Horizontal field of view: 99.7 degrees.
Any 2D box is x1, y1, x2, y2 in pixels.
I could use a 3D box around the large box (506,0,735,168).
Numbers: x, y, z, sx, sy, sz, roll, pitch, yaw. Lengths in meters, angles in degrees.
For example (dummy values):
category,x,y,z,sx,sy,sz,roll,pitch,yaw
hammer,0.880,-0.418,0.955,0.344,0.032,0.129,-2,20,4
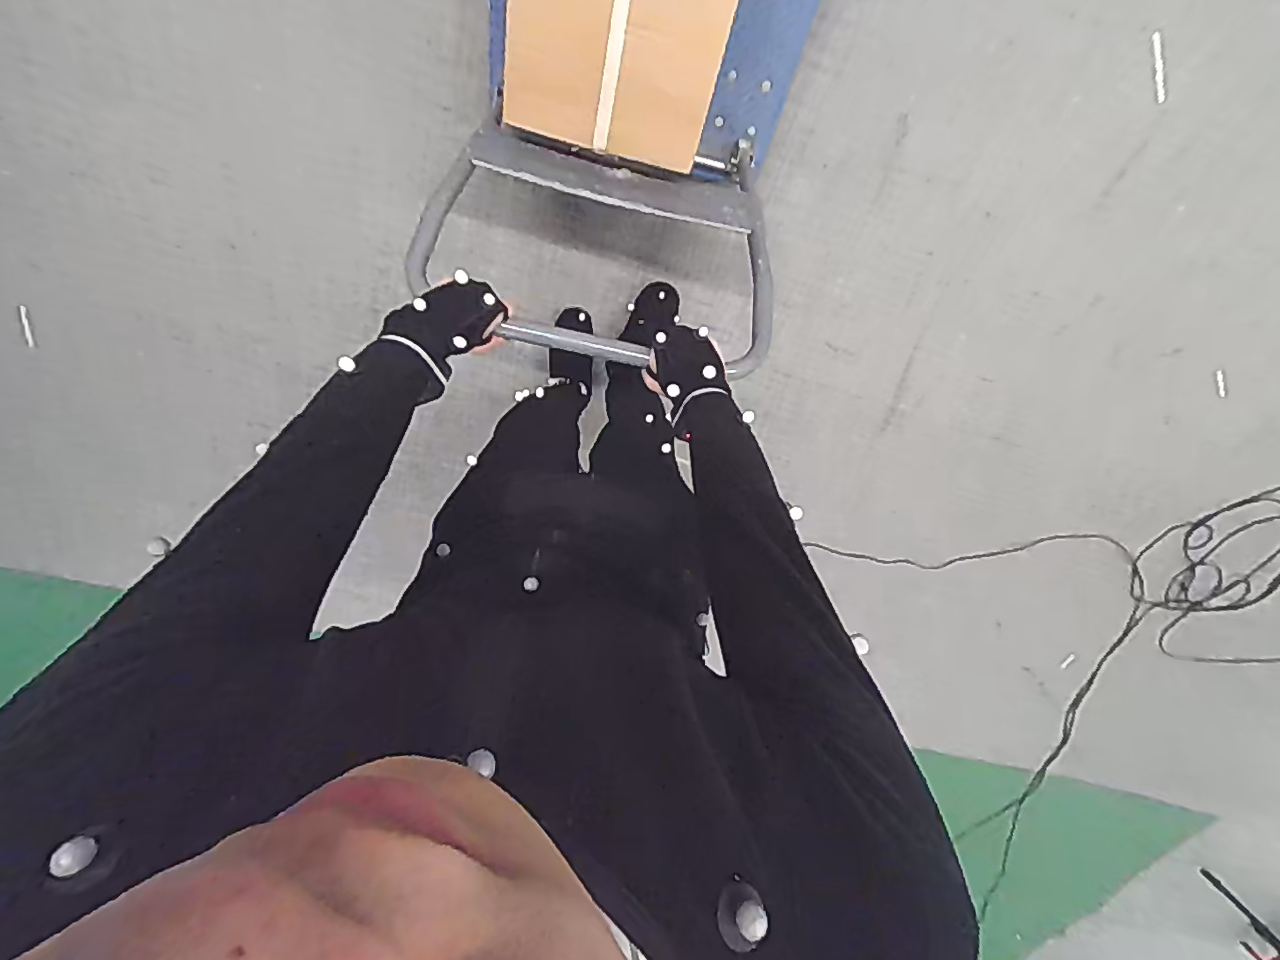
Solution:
category,x,y,z,sx,sy,sz,roll,pitch,yaw
large box,-0.013,-0.783,0.844,0.320,0.320,0.408,11,136,-8
